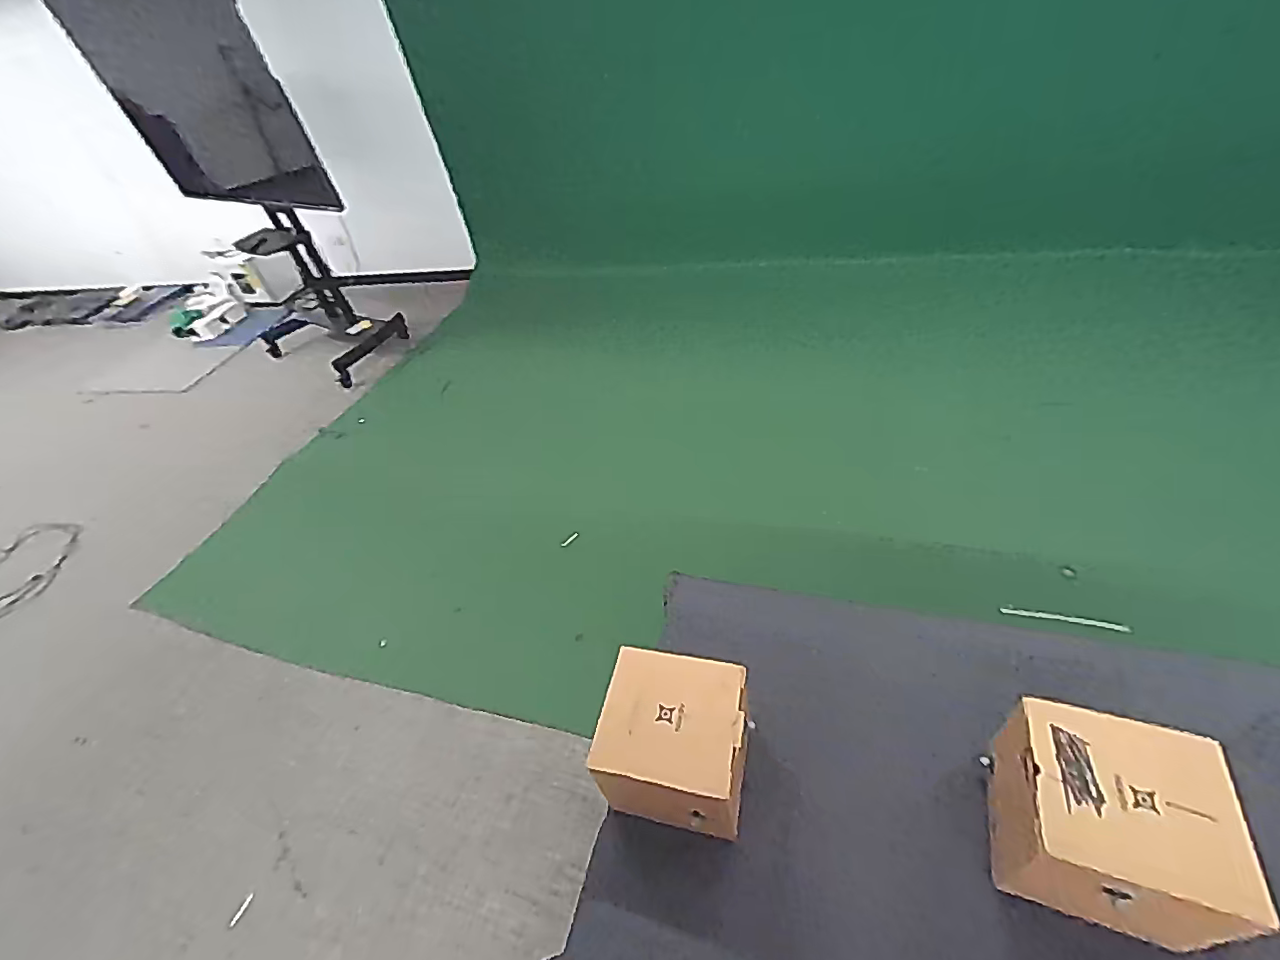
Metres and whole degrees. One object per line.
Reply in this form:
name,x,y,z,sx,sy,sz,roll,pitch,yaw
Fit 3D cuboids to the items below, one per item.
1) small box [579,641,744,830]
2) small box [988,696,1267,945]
small box,0.043,0.341,0.720,0.179,0.176,0.168,3,44,17
small box,0.501,0.373,0.595,0.179,0.176,0.168,11,50,23
